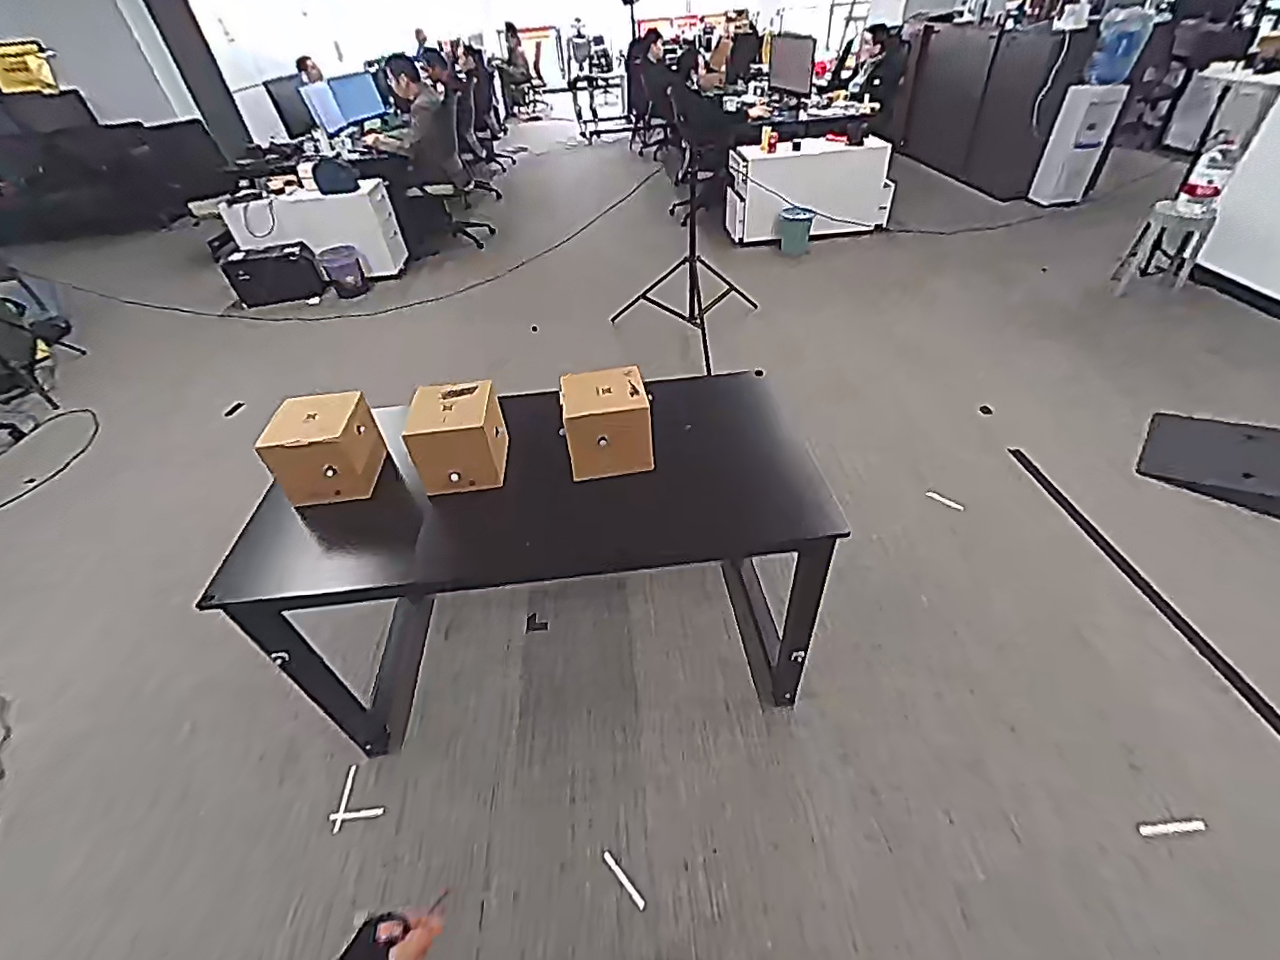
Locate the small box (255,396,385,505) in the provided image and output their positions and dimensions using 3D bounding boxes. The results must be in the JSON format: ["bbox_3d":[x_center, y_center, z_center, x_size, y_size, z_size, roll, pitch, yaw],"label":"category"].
[{"bbox_3d":[-0.681,-0.059,1.178,0.168,0.176,0.179,-6,41,-4],"label":"small box"}]

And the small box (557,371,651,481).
[{"bbox_3d":[-0.078,-0.115,1.185,0.179,0.176,0.168,-10,42,-4],"label":"small box"}]

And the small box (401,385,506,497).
[{"bbox_3d":[-0.395,-0.085,1.179,0.168,0.176,0.179,-7,42,-2],"label":"small box"}]
